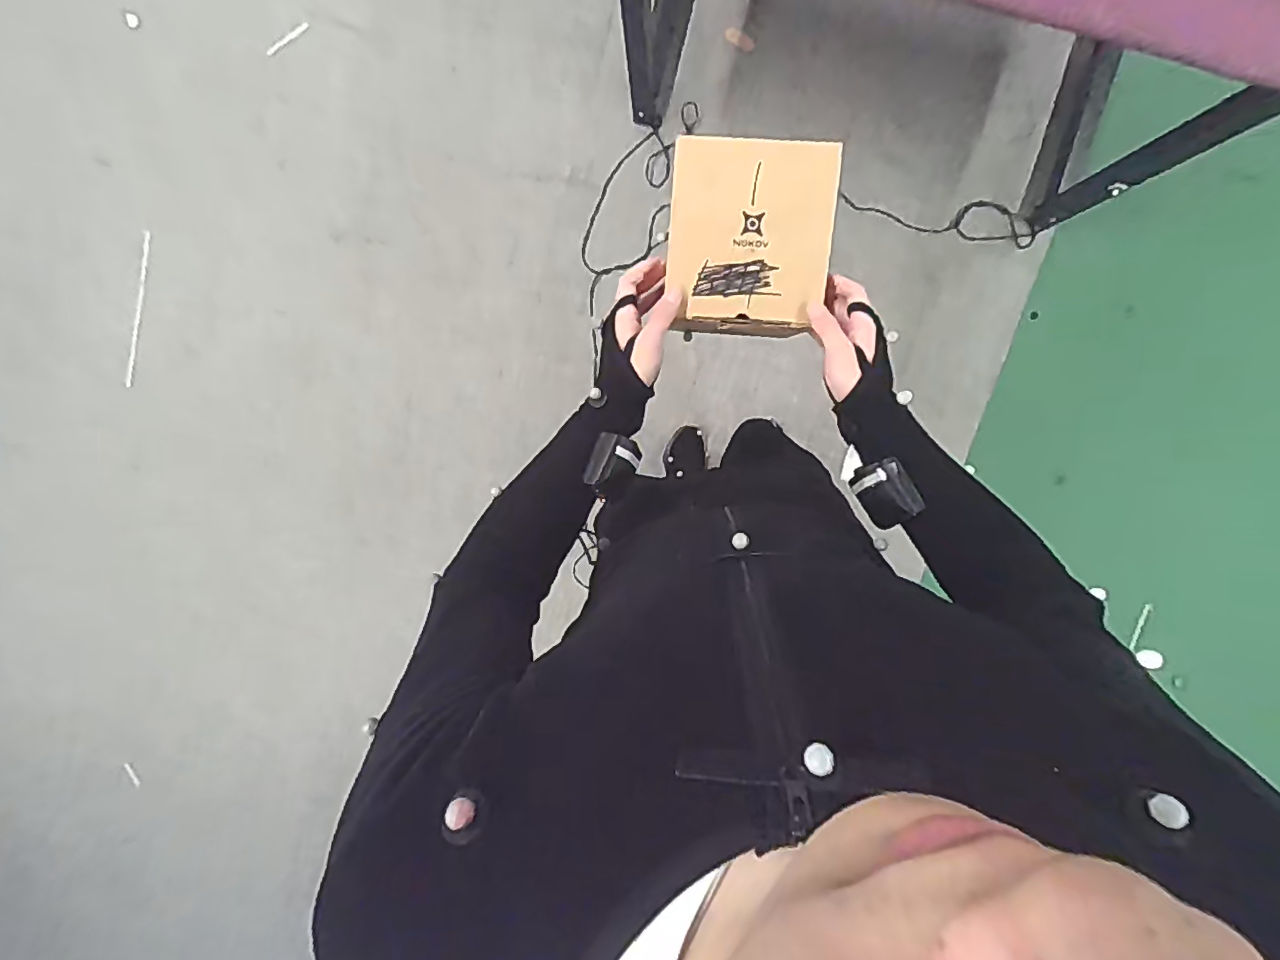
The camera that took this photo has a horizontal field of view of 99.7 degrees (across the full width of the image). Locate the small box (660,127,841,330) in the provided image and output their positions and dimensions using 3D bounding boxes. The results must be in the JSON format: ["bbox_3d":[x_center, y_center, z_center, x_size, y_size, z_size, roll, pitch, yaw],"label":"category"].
[{"bbox_3d":[0.113,-0.271,0.622,0.168,0.176,0.179,4,101,2],"label":"small box"}]
